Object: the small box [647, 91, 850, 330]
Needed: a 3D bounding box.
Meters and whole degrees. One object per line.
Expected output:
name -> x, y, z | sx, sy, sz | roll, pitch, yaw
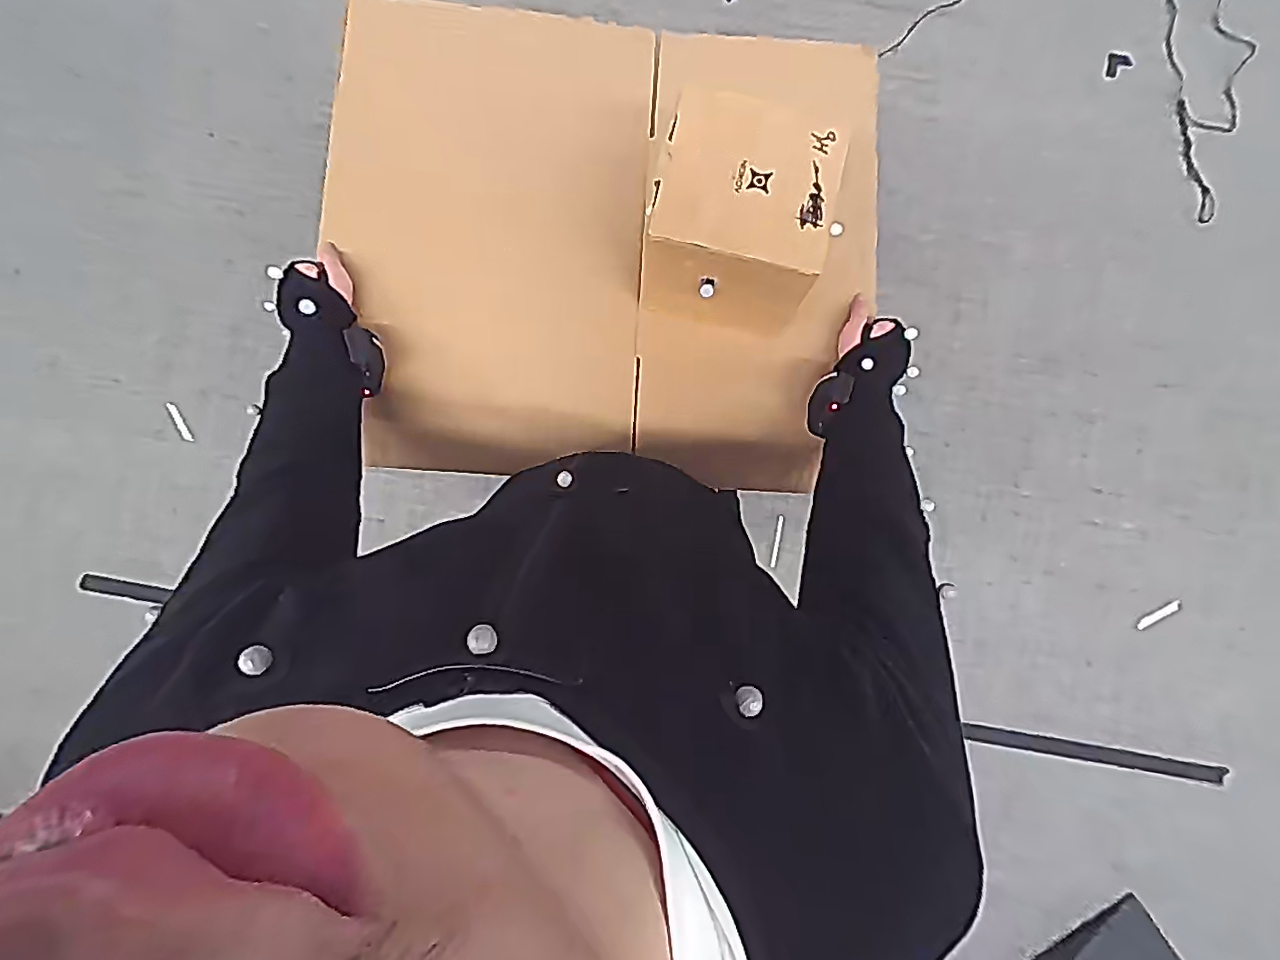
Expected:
small box -> 0.110, -0.290, 0.617 | 0.179, 0.176, 0.168 | 13, 84, 2
